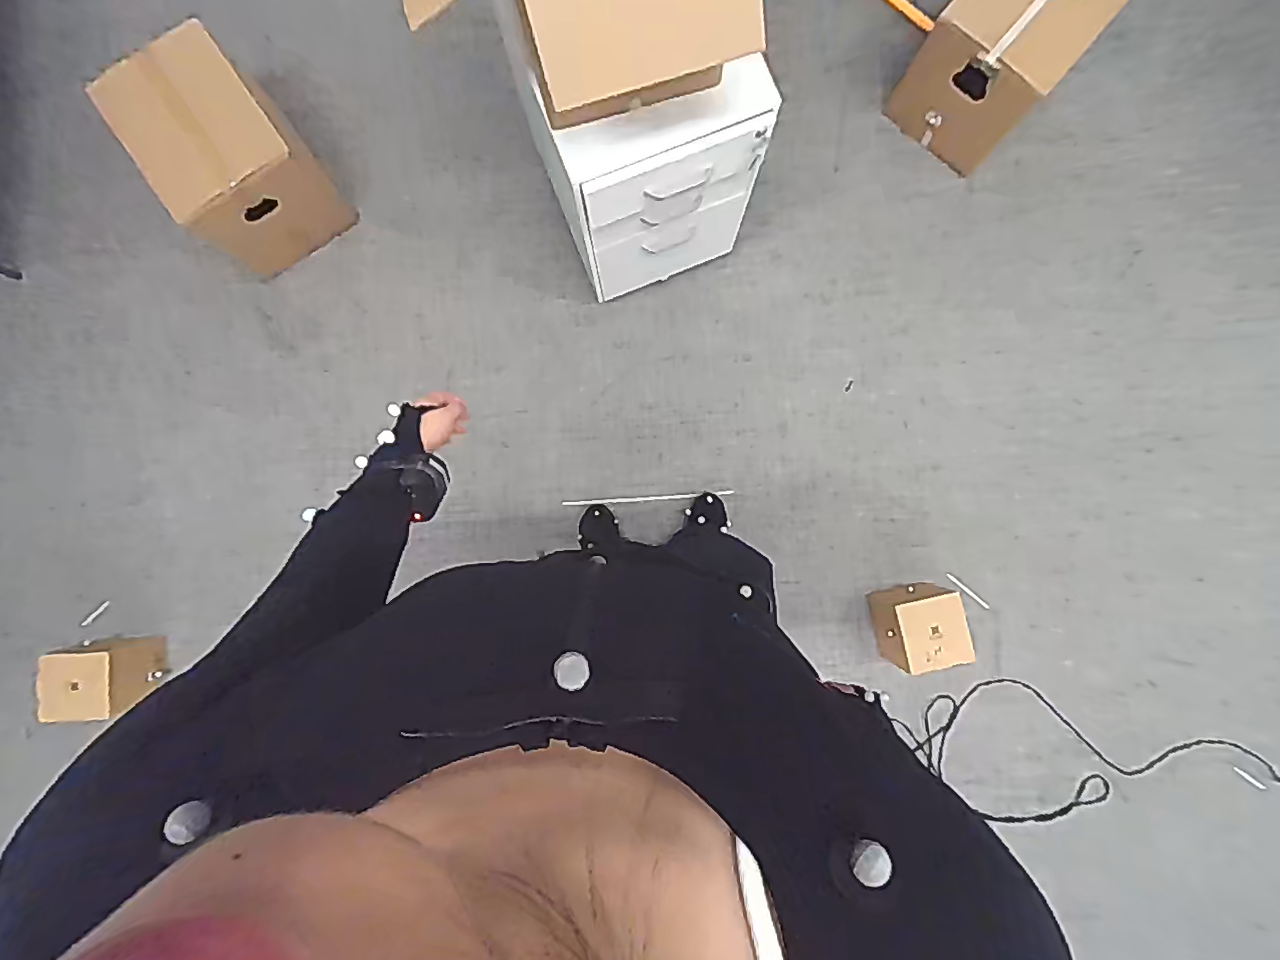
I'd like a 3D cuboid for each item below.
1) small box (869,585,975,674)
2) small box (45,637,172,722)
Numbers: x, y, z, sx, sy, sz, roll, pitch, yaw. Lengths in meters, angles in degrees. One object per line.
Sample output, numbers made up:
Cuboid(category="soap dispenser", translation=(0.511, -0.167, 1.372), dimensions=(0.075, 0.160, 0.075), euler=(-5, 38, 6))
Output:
Cuboid(category="small box", translation=(0.717, 0.376, 1.395), dimensions=(0.168, 0.176, 0.179), euler=(-12, 88, 0))
Cuboid(category="small box", translation=(-1.388, 0.517, 1.420), dimensions=(0.179, 0.176, 0.168), euler=(-4, 88, -1))
